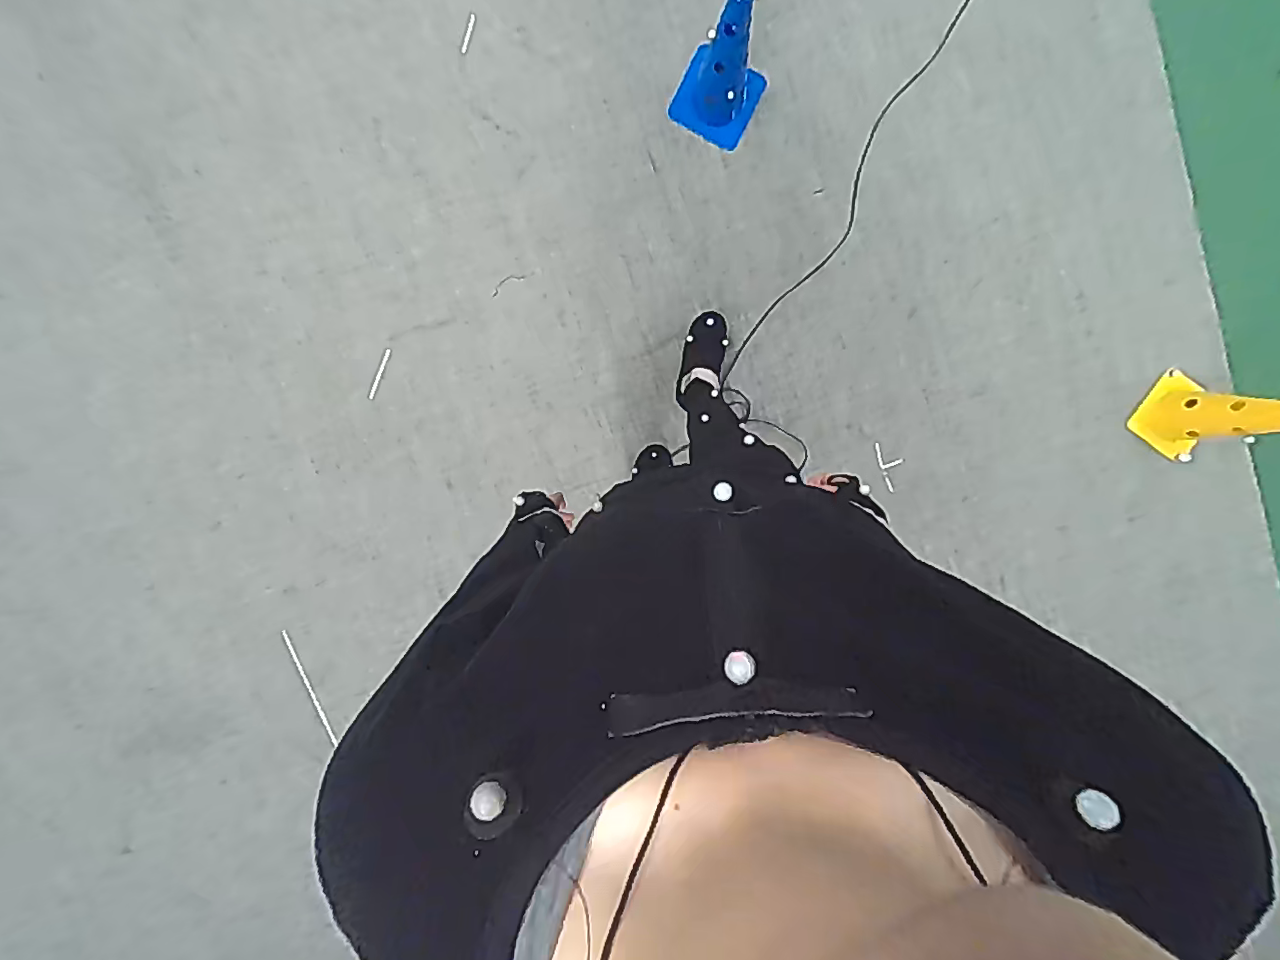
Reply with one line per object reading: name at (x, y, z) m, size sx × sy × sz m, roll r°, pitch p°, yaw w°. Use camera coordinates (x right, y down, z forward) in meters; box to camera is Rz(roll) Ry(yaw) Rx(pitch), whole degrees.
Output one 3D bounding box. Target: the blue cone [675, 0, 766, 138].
blue cone at (0.196, -0.952, 1.192) m, size 0.193 × 0.380 × 0.192 m, roll 26°, pitch 97°, yaw -2°
